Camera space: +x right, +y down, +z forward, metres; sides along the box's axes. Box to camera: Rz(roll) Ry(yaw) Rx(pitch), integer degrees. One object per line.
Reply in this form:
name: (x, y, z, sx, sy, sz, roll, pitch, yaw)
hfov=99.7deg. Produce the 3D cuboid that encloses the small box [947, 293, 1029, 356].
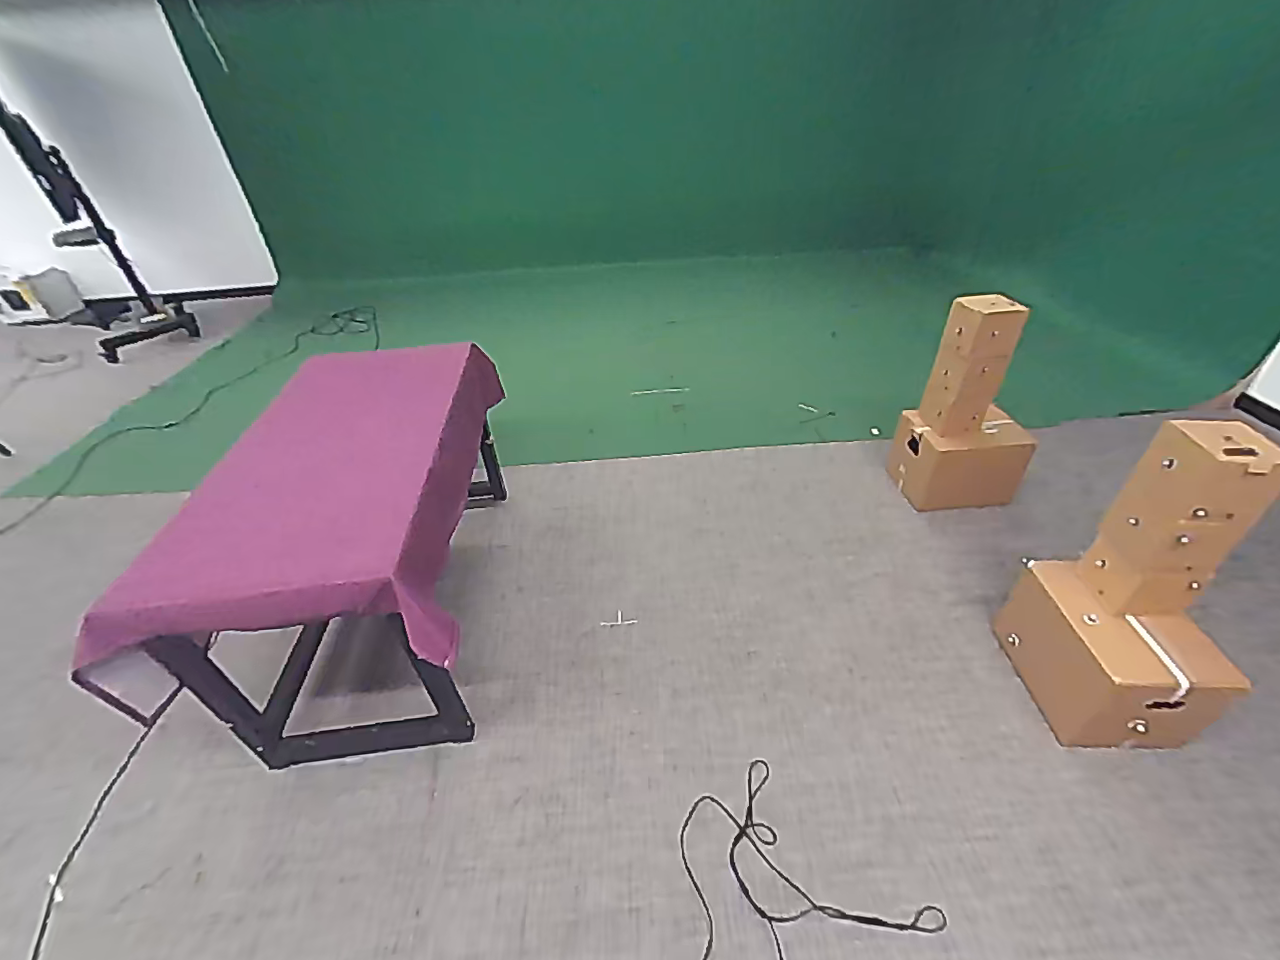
small box: (1.239, -0.556, 1.944, 0.179, 0.176, 0.168, -7, 38, -4)

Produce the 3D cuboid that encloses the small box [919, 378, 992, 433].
small box: (1.247, -0.297, 2.146, 0.168, 0.176, 0.179, -5, 37, -3)

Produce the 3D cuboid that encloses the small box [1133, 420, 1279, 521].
small box: (1.313, -0.021, 1.248, 0.168, 0.176, 0.179, 3, 37, 6)

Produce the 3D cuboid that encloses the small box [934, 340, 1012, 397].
small box: (1.247, -0.427, 2.046, 0.179, 0.176, 0.168, -7, 38, -7)

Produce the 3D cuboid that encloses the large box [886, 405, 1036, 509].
large box: (1.328, -0.099, 2.284, 0.408, 0.320, 0.320, -4, 38, -2)

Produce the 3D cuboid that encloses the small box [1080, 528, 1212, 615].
small box: (1.328, 0.245, 1.442, 0.179, 0.176, 0.168, 1, 38, 2)
